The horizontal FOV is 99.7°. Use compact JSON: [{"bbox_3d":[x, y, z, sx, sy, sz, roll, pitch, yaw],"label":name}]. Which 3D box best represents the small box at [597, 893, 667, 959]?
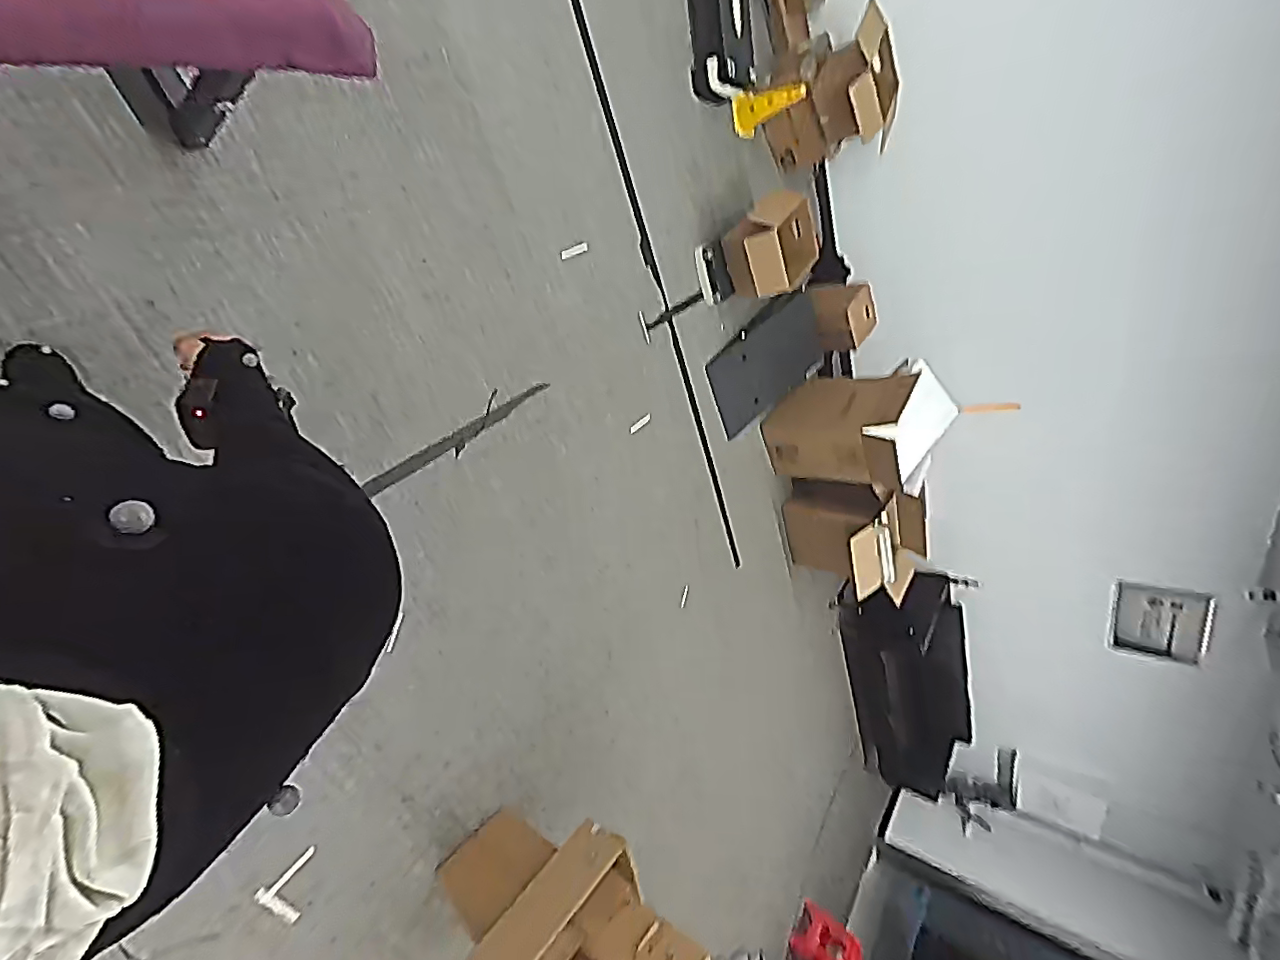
[{"bbox_3d":[-0.022,1.480,1.733,0.168,0.176,0.179,-23,113,-45],"label":"small box"}]

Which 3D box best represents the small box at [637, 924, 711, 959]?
[{"bbox_3d":[0.100,1.492,1.622,0.168,0.176,0.179,-18,109,-46],"label":"small box"}]
